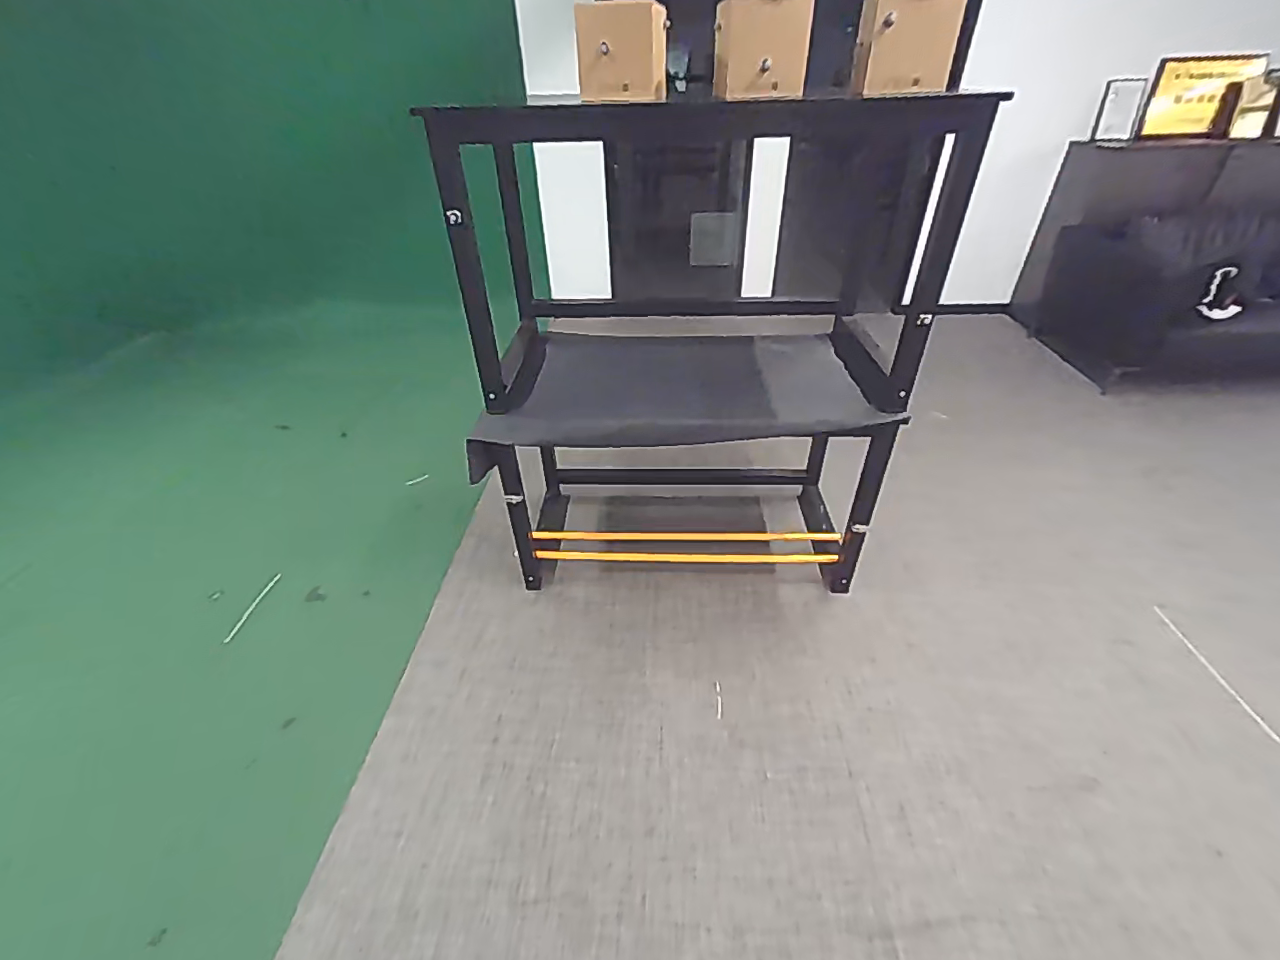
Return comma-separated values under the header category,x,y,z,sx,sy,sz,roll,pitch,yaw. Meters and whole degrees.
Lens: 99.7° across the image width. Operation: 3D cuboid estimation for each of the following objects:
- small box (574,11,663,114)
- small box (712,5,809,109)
category,x,y,z,sx,sy,sz,roll,pitch,yaw
small box,-0.039,-0.928,1.213,0.168,0.176,0.179,5,36,9
small box,0.253,-0.920,1.186,0.168,0.176,0.179,-3,36,-1
